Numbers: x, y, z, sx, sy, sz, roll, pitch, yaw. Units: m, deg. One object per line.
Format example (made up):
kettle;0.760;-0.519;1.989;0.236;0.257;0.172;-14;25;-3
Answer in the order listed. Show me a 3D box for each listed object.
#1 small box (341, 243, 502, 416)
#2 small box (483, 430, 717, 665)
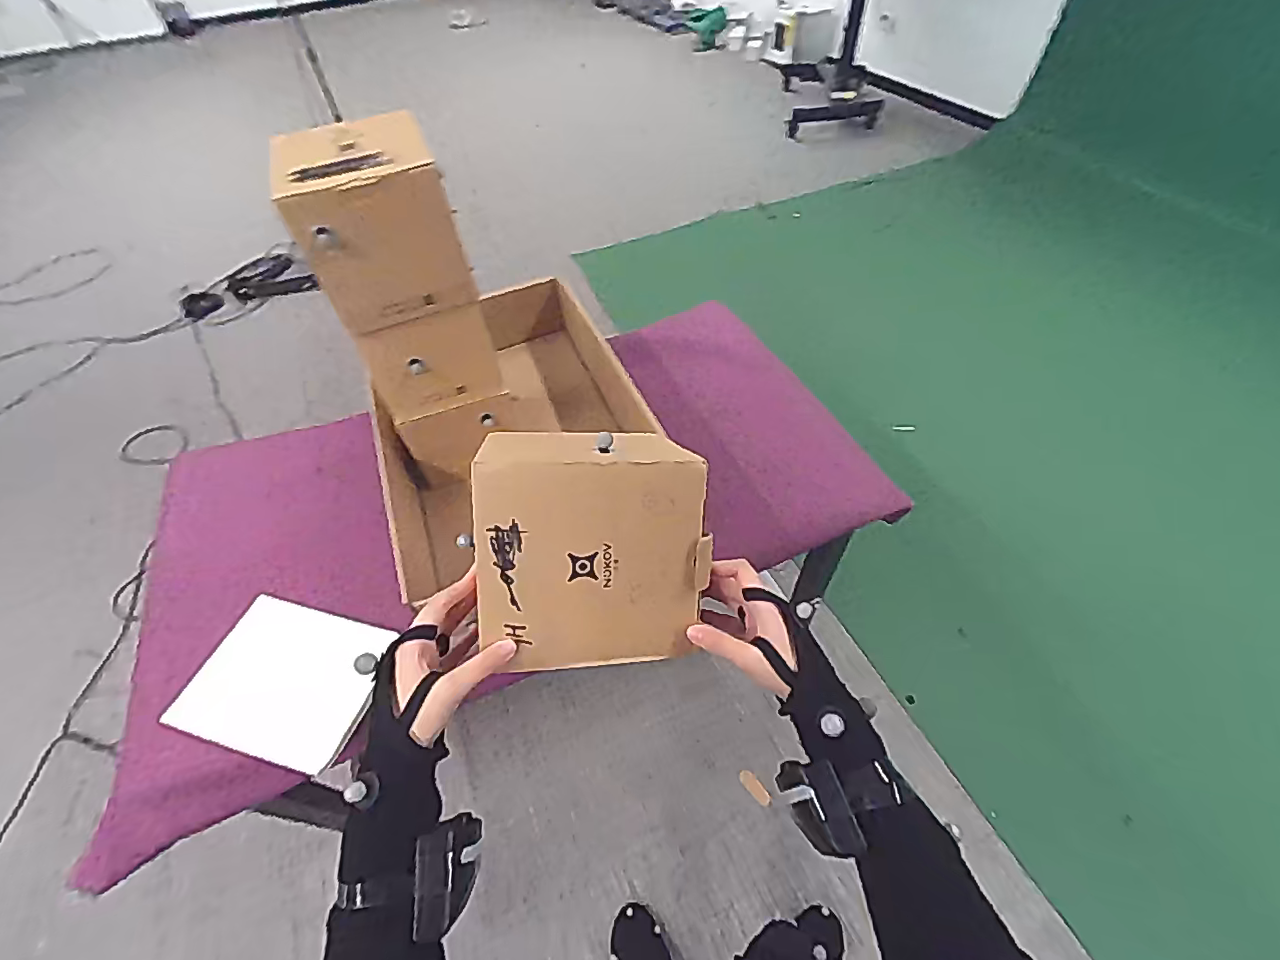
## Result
small box;-0.318;-0.215;0.803;0.168;0.176;0.179;-19;54;-11
small box;-0.046;0.046;0.487;0.179;0.168;0.176;0;10;-12
